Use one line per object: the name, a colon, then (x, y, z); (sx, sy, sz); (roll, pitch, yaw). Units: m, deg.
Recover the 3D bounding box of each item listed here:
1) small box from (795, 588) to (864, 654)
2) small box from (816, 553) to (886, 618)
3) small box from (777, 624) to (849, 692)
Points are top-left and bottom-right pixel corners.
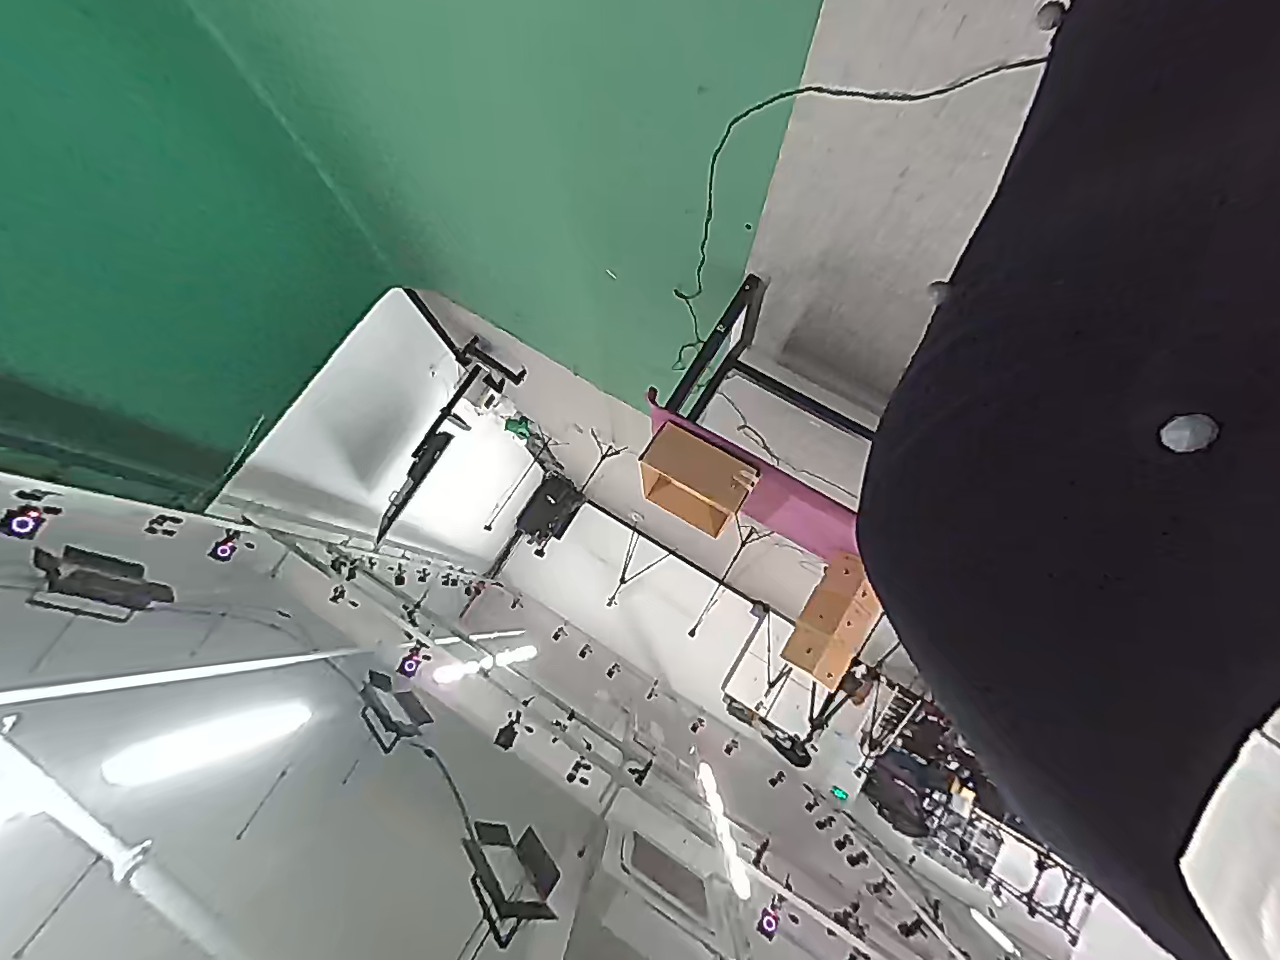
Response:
small box: (0.752, 0.547, 2.126); (0.168, 0.176, 0.179); (42, 165, -32)
small box: (0.843, 0.415, 2.154); (0.179, 0.176, 0.168); (40, 167, -32)
small box: (0.671, 0.683, 2.093); (0.179, 0.176, 0.168); (41, 165, -30)
